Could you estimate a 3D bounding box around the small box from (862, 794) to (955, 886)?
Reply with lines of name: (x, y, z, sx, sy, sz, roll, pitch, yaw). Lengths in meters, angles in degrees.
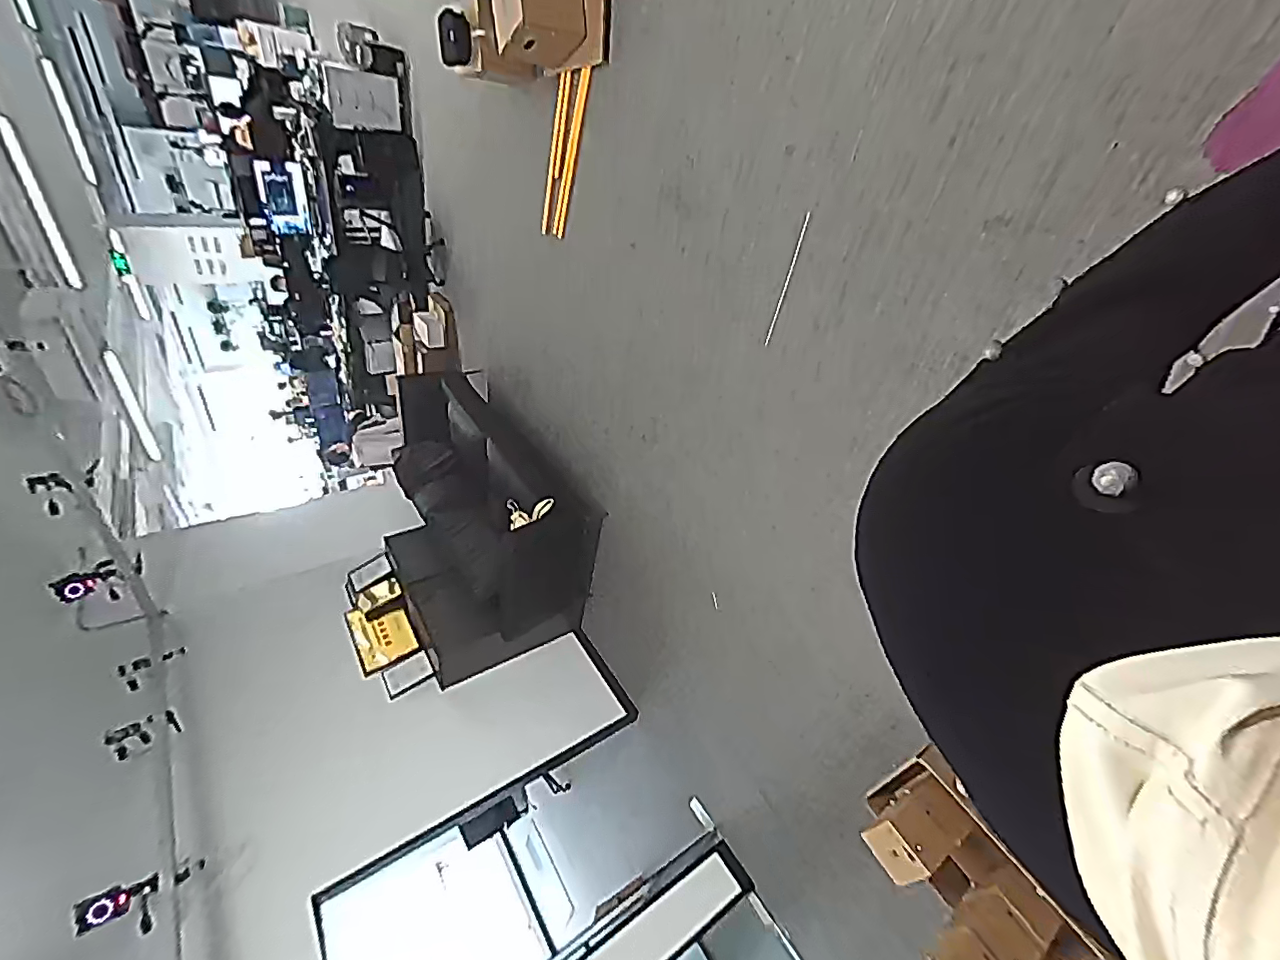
small box: (0.857, 1.147, 1.727, 0.168, 0.176, 0.179, 52, 142, 31)

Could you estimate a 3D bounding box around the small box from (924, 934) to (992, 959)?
small box: (0.886, 1.392, 1.481, 0.168, 0.176, 0.179, 51, 143, 33)

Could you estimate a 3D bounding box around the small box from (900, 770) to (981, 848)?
small box: (0.995, 1.115, 1.811, 0.168, 0.176, 0.179, 50, 141, 32)

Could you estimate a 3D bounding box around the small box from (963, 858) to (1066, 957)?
small box: (1.149, 1.307, 1.658, 0.168, 0.176, 0.179, 50, 142, 33)
